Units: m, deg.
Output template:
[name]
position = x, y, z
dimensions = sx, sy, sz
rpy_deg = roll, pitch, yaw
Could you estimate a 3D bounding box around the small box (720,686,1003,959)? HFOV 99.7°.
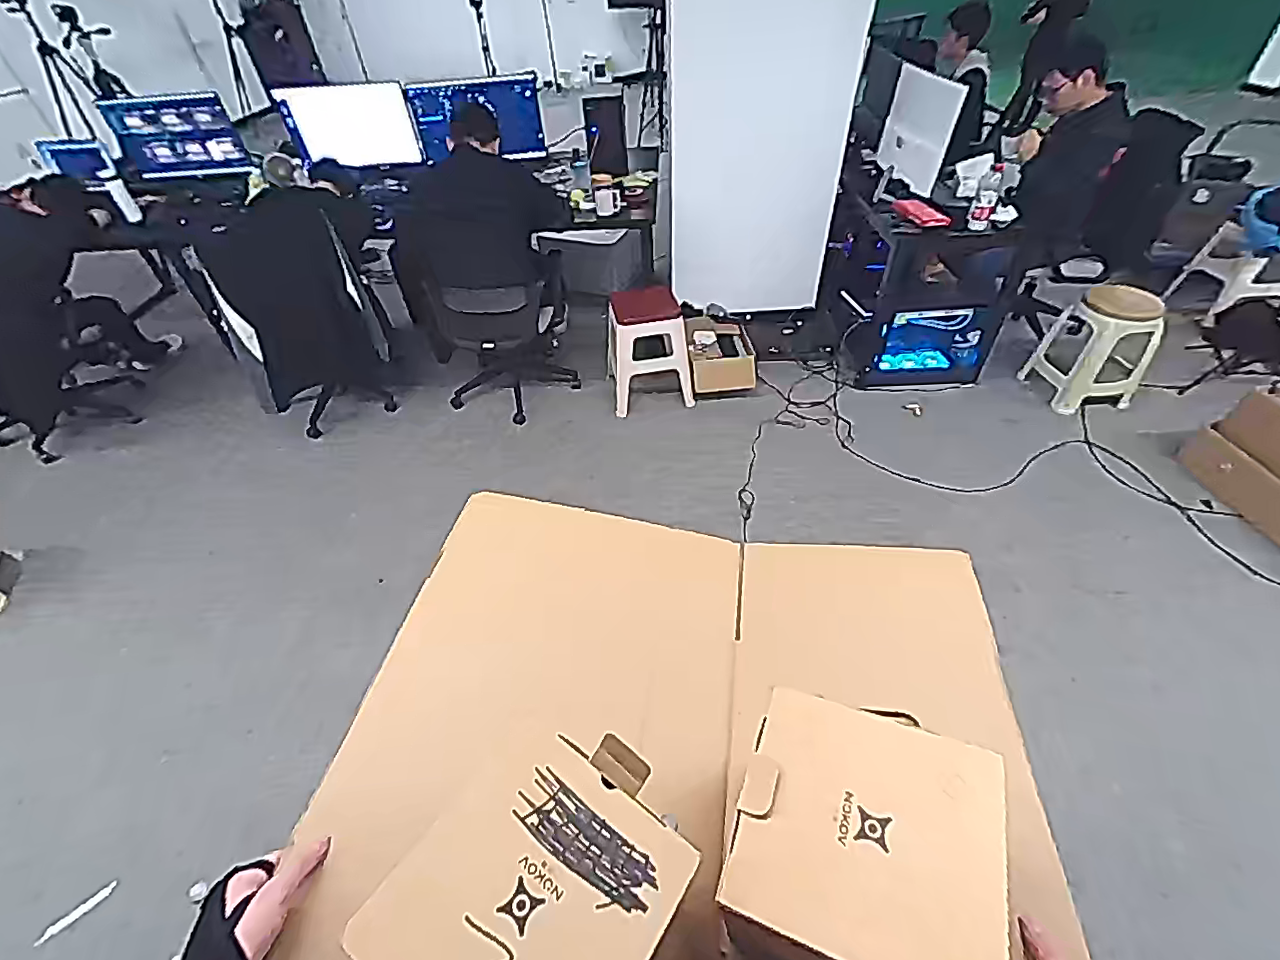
[small box]
position = 0.180, 0.308, 0.456
dimensions = 0.179, 0.176, 0.168
rpy_deg = 9, 49, 23
